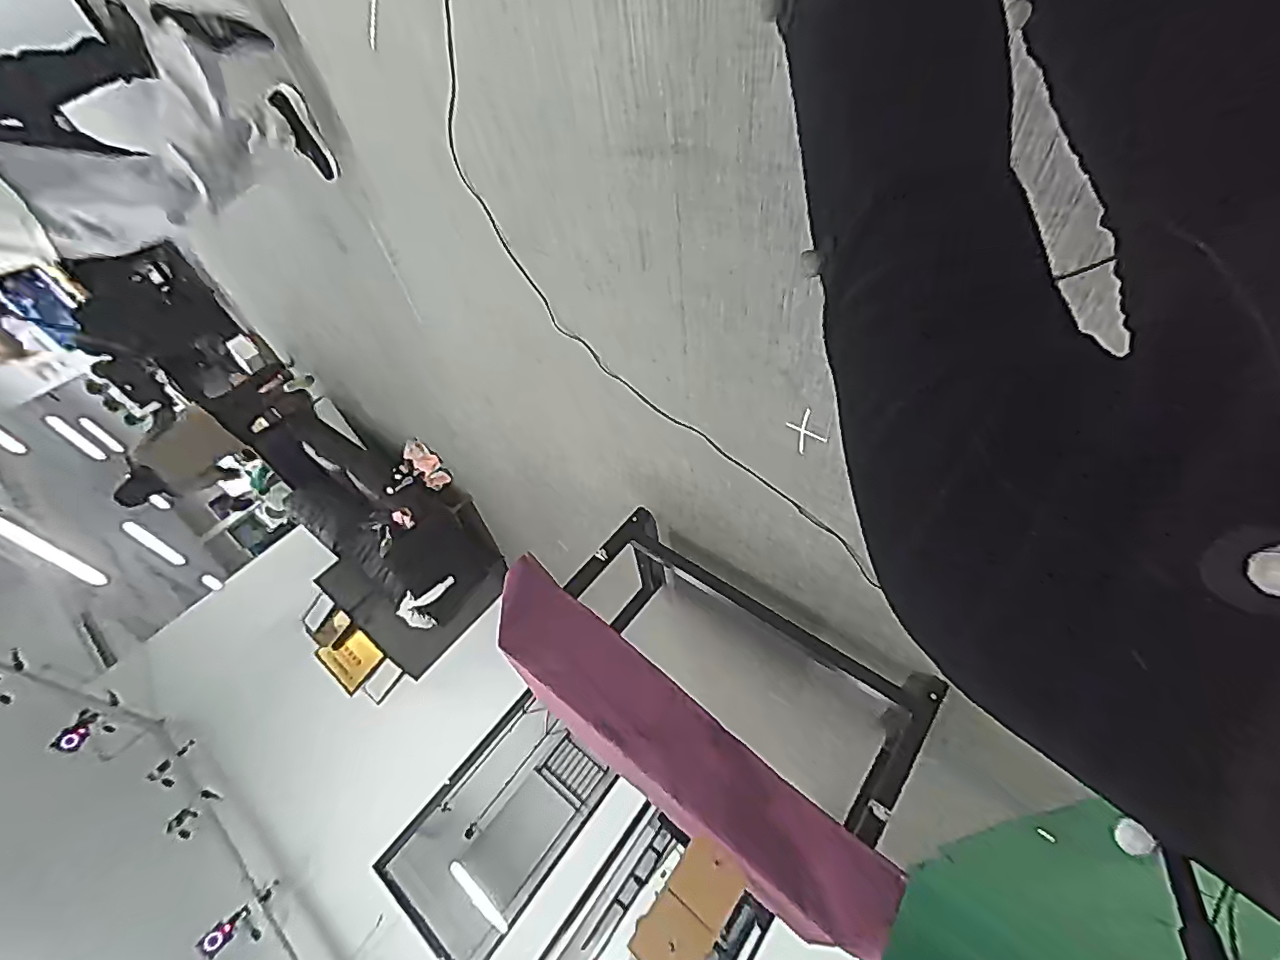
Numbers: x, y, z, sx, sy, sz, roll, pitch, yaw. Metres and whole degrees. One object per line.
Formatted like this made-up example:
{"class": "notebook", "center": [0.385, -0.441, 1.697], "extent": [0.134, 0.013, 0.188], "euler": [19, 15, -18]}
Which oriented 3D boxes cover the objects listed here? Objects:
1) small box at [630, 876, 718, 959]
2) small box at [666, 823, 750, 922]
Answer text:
{"class": "small box", "center": [0.098, 1.245, 1.508], "extent": [0.179, 0.176, 0.168], "euler": [27, 149, 29]}
{"class": "small box", "center": [0.201, 1.139, 1.580], "extent": [0.179, 0.176, 0.168], "euler": [28, 150, 30]}
